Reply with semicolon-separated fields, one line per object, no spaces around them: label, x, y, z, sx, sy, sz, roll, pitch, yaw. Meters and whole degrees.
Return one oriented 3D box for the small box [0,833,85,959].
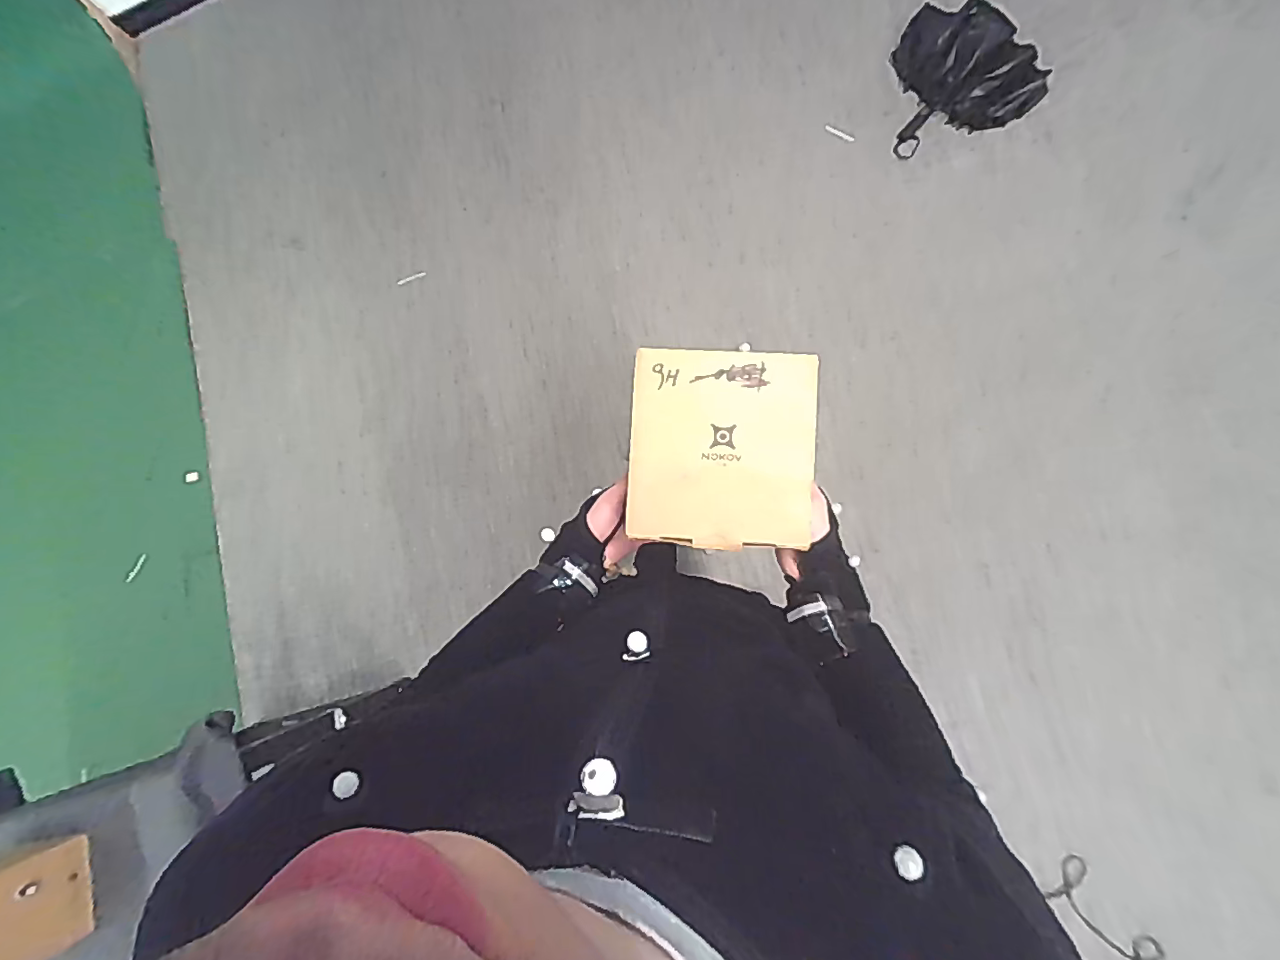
small box;-1.069;0.712;0.887;0.179;0.176;0.168;-15;80;9

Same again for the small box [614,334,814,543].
small box;0.069;-0.035;0.554;0.168;0.176;0.179;4;87;3
